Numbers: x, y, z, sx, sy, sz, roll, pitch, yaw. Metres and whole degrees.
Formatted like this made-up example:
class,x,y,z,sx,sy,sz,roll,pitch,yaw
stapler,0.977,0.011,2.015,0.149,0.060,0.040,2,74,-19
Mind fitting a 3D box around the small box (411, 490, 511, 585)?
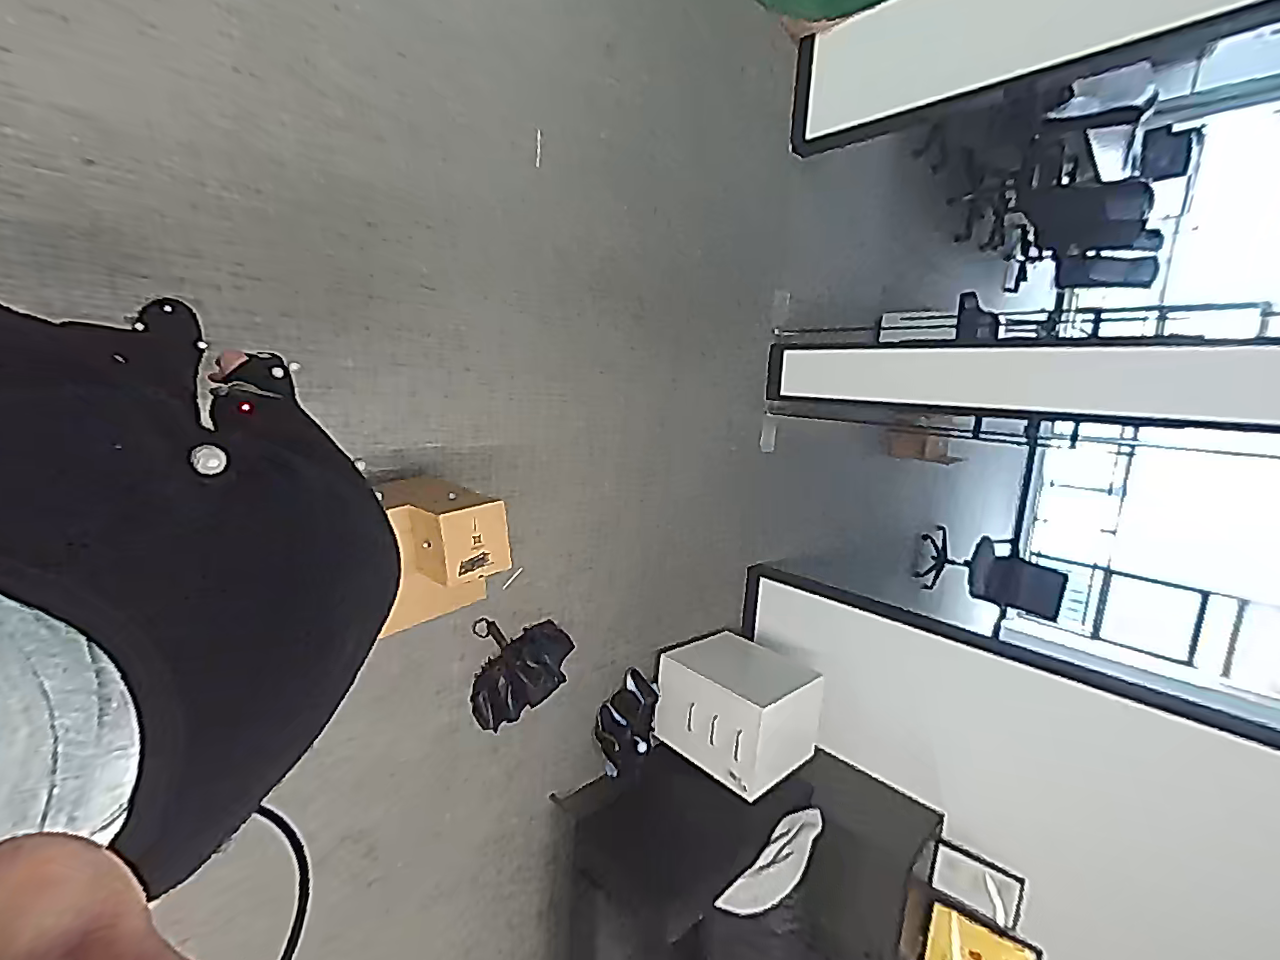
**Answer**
class,x,y,z,sx,sy,sz,roll,pitch,yaw
small box,-0.434,0.131,1.309,0.168,0.176,0.179,-14,105,-43
